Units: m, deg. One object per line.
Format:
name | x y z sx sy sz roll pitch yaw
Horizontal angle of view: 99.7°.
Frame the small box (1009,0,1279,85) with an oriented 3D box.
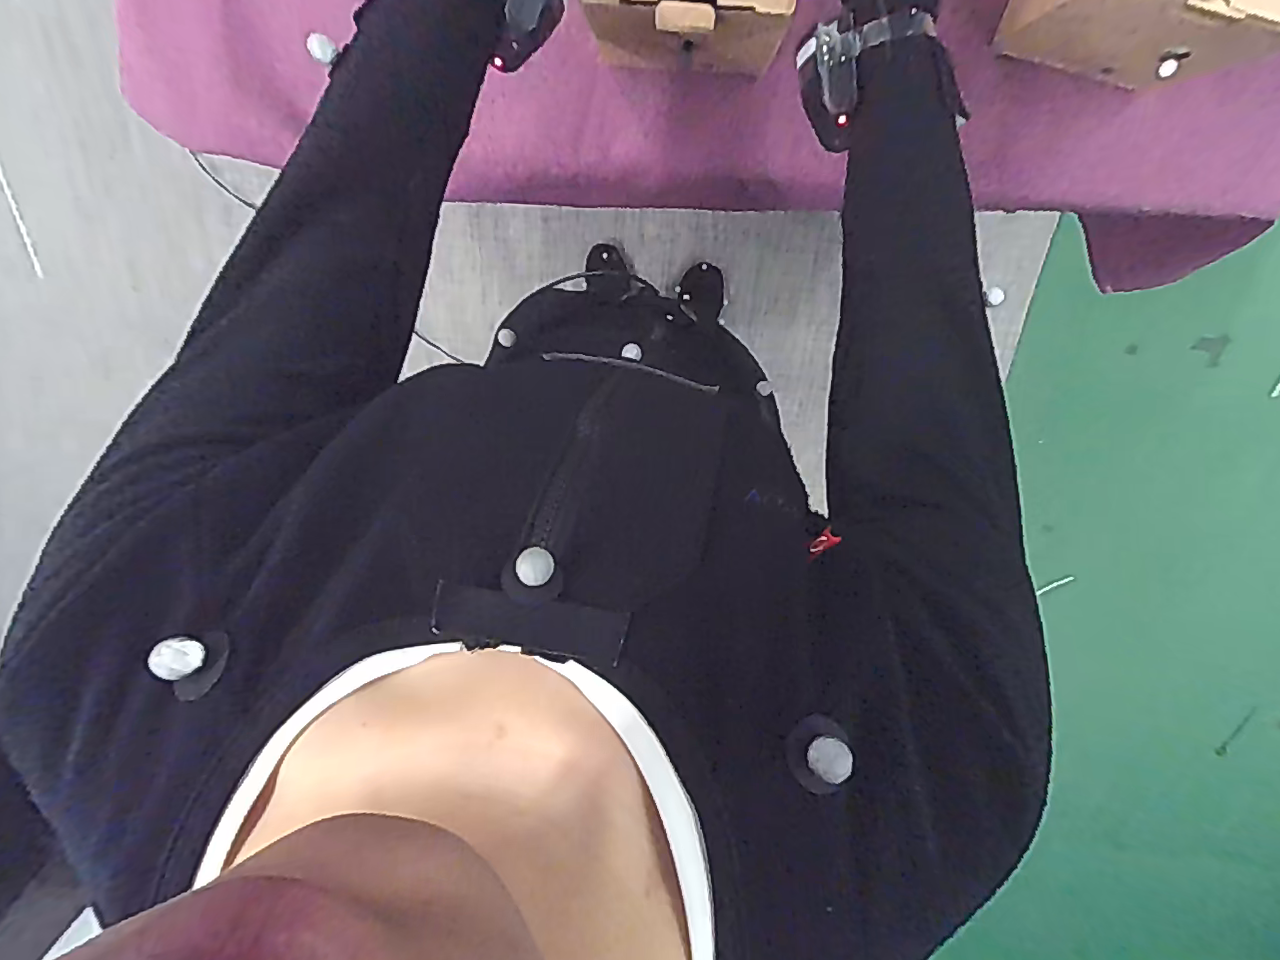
small box | 0.434 -0.442 0.420 0.168 0.176 0.179 14 115 -2
